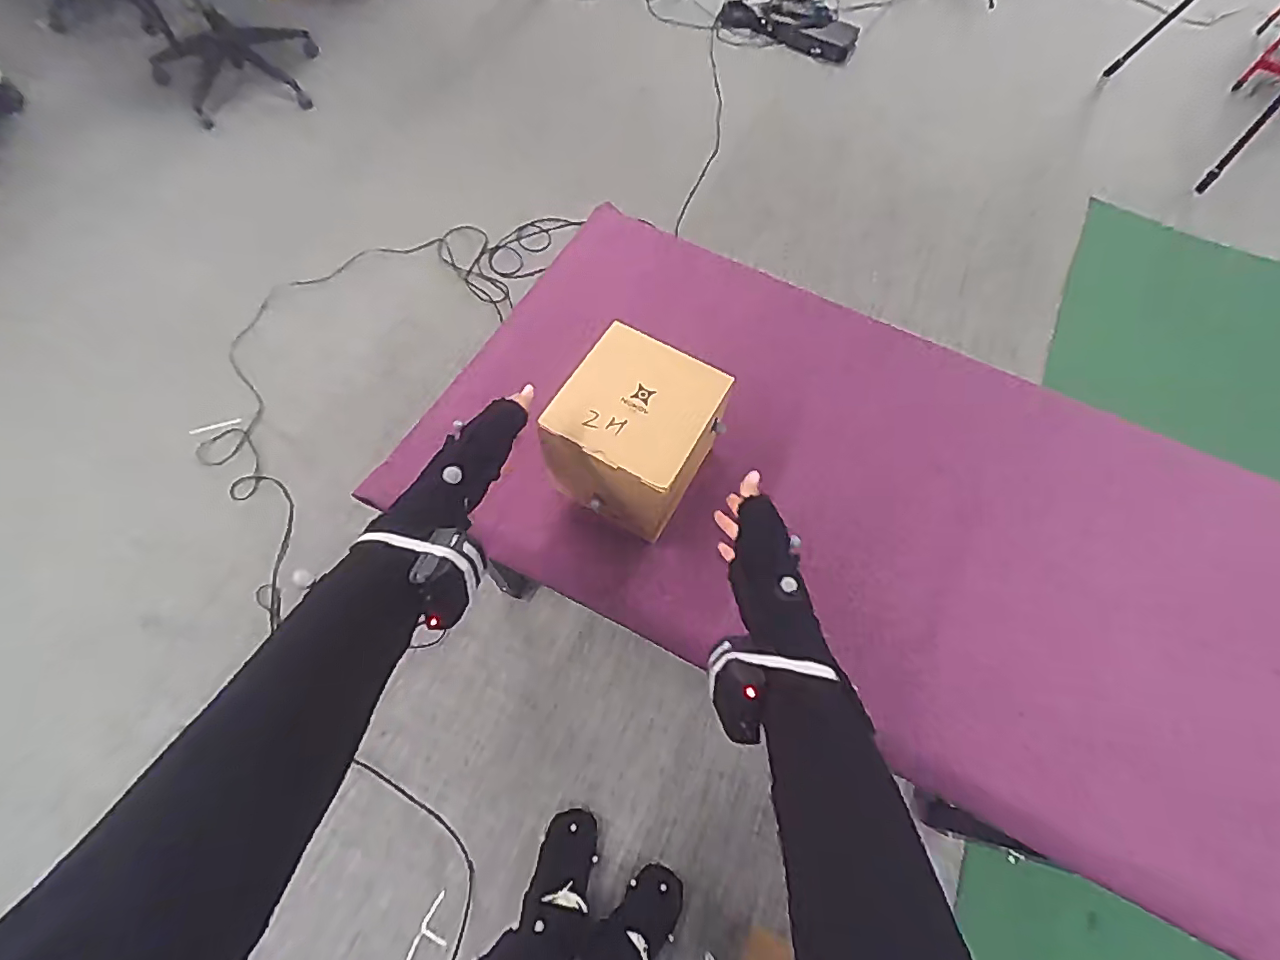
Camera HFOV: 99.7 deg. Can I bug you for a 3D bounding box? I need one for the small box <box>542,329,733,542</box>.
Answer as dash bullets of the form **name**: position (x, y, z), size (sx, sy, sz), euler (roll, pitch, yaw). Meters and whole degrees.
- **small box**: position (-0.006, -0.050, 0.693), size (0.168, 0.176, 0.179), euler (29, 67, 10)
